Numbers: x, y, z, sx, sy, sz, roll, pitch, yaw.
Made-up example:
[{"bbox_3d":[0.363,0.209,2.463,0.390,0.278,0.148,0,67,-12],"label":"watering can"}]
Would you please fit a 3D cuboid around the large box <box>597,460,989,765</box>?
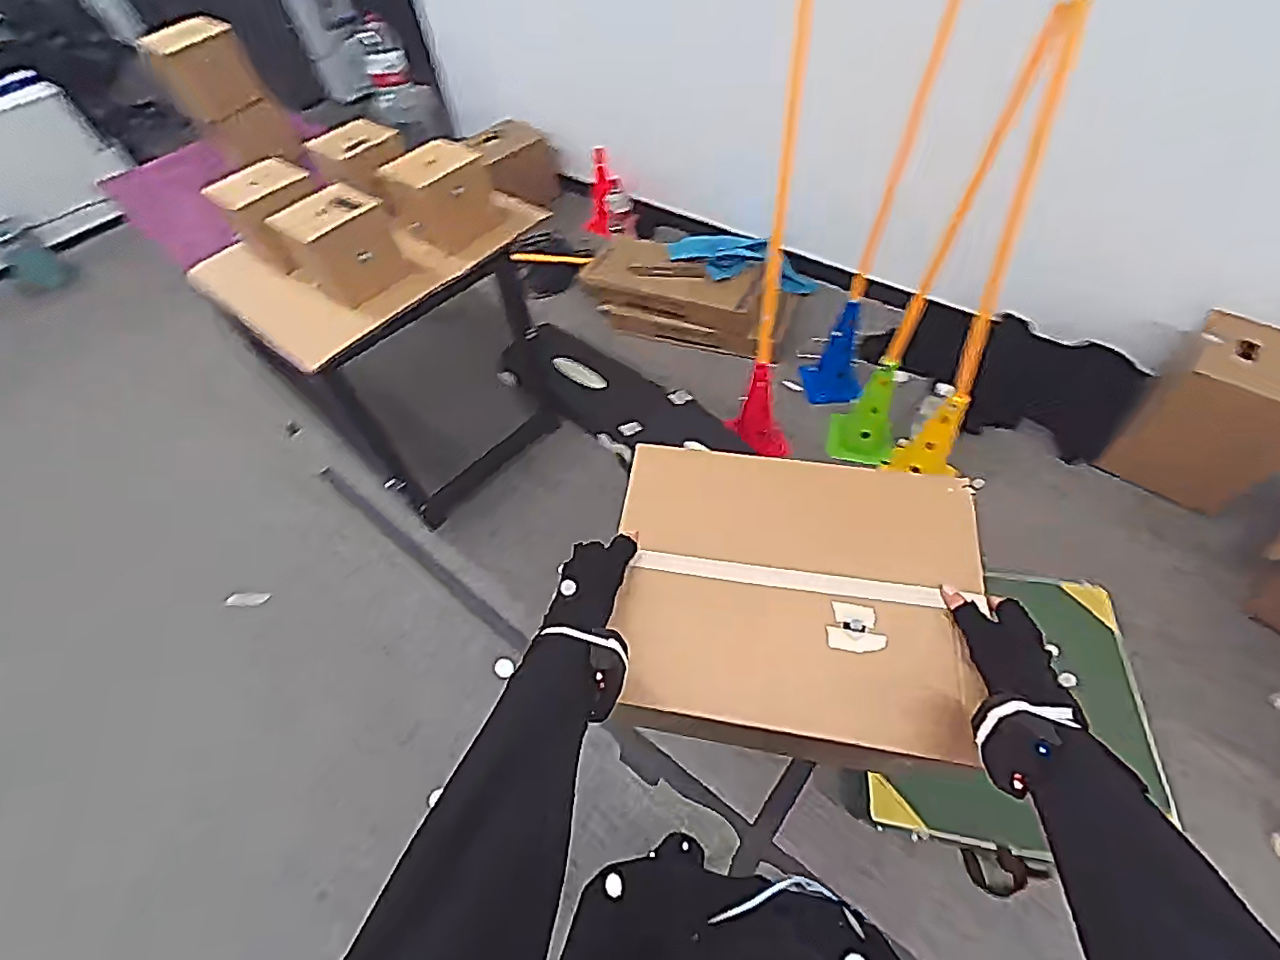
[{"bbox_3d":[0.175,0.195,0.752,0.408,0.320,0.320,6,62,7],"label":"large box"}]
